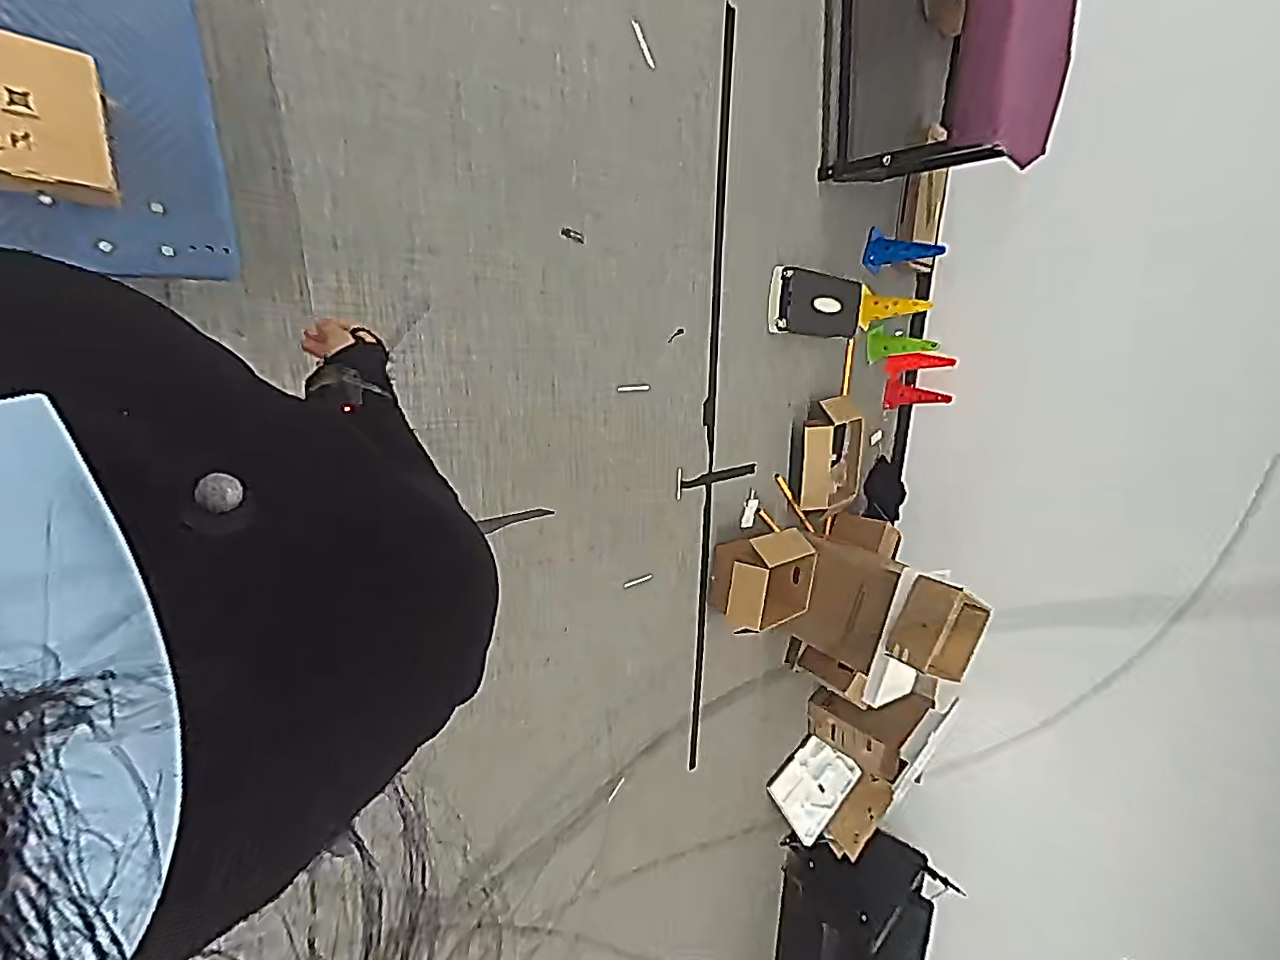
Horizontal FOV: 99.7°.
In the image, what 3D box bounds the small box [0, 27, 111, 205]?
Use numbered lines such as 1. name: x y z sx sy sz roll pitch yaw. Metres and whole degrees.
1. small box: -0.879 -0.514 0.769 0.168 0.176 0.179 -9 108 -41
